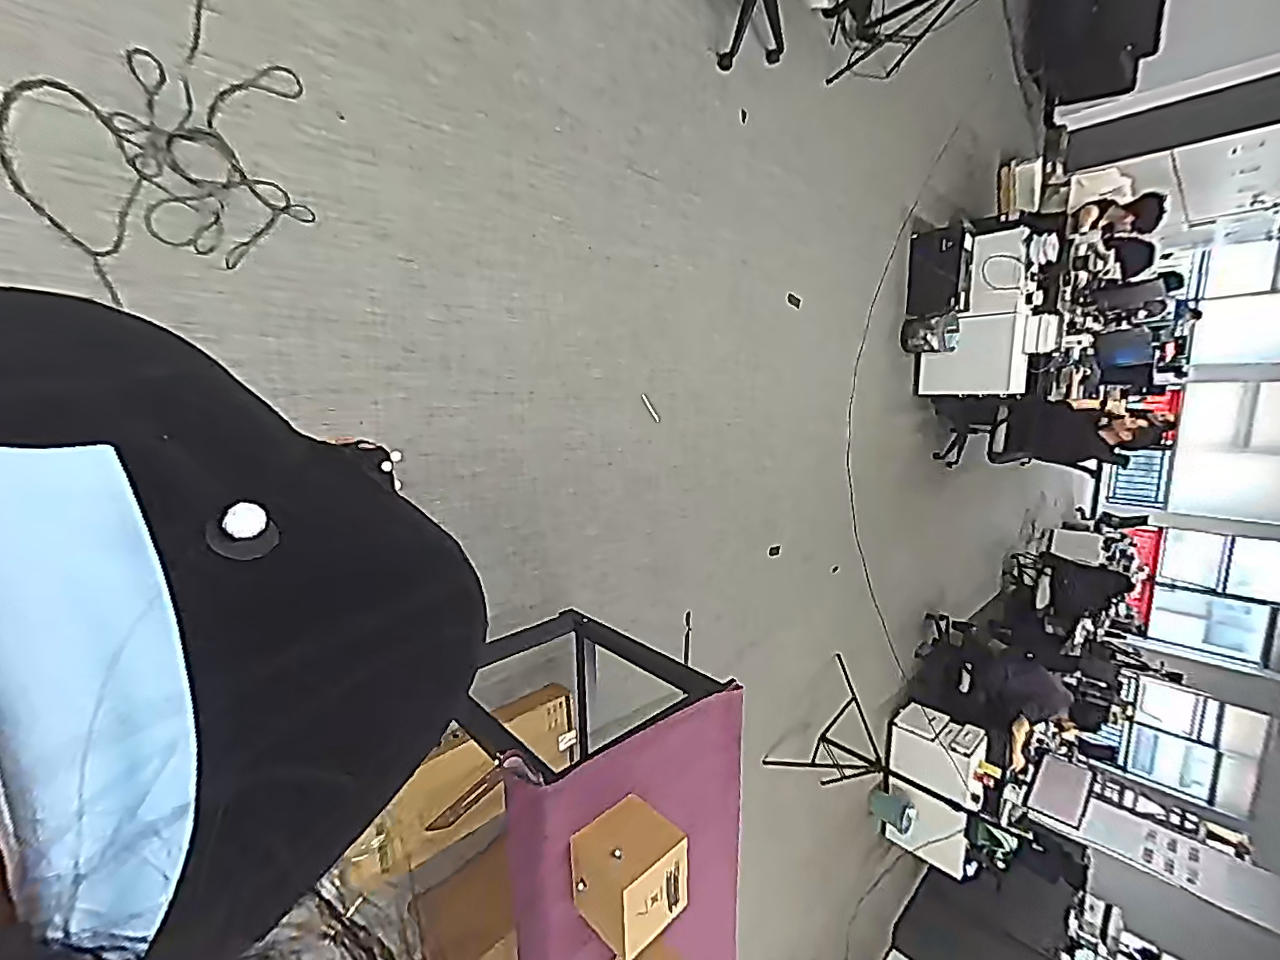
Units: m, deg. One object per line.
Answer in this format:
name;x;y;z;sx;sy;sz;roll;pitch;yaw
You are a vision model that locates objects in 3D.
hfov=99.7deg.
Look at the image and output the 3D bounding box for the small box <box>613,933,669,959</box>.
small box;0.009;1.183;1.203;0.168;0.176;0.179;-12;105;-45
